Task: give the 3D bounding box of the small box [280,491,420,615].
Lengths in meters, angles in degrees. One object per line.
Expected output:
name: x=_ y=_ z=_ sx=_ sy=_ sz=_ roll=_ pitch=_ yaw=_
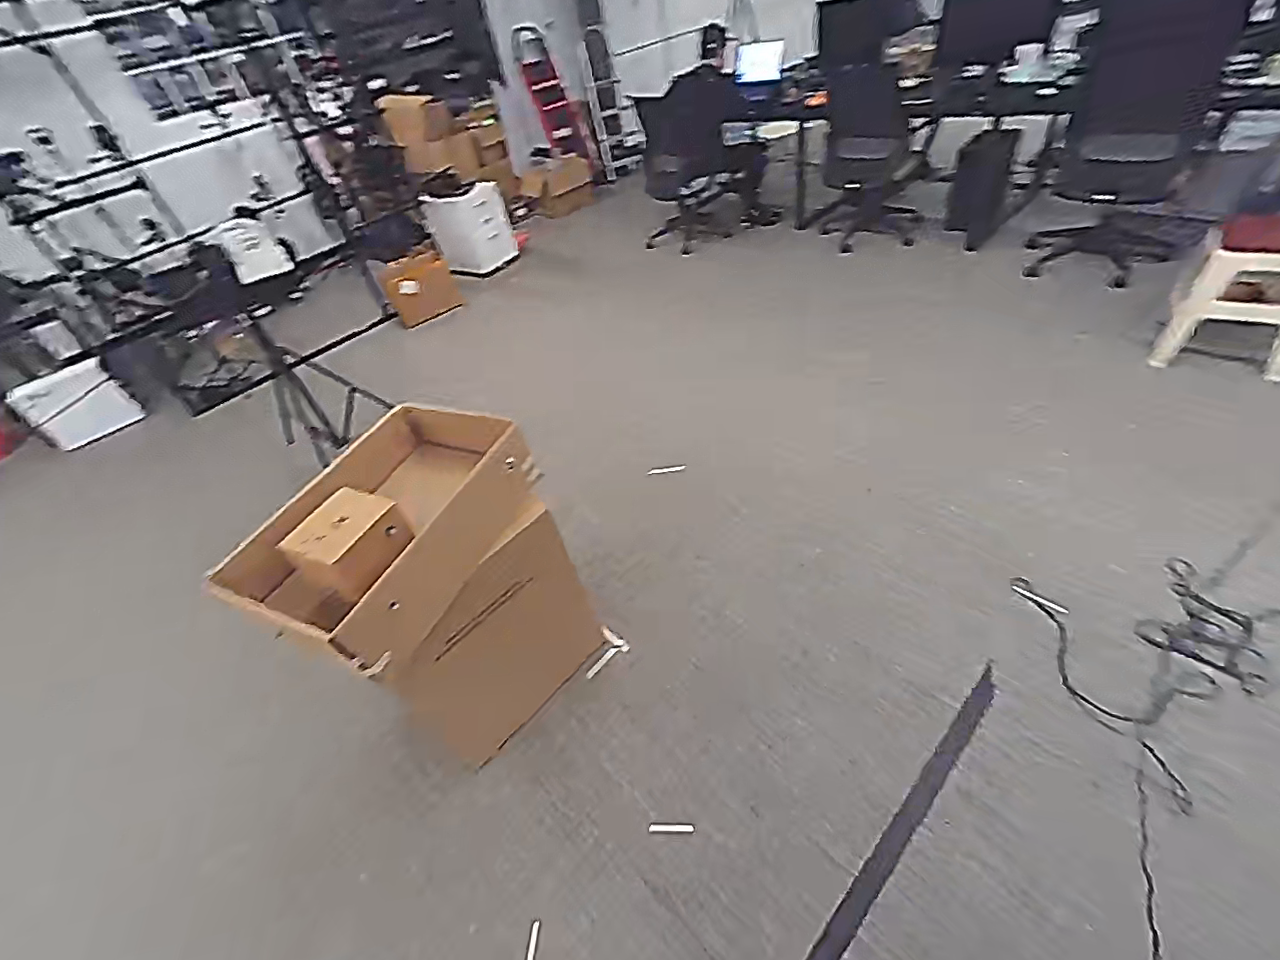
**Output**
small box: x=-0.598 y=0.153 z=1.149 sx=0.168 sy=0.176 sz=0.179 roll=11 pitch=47 yaw=24
